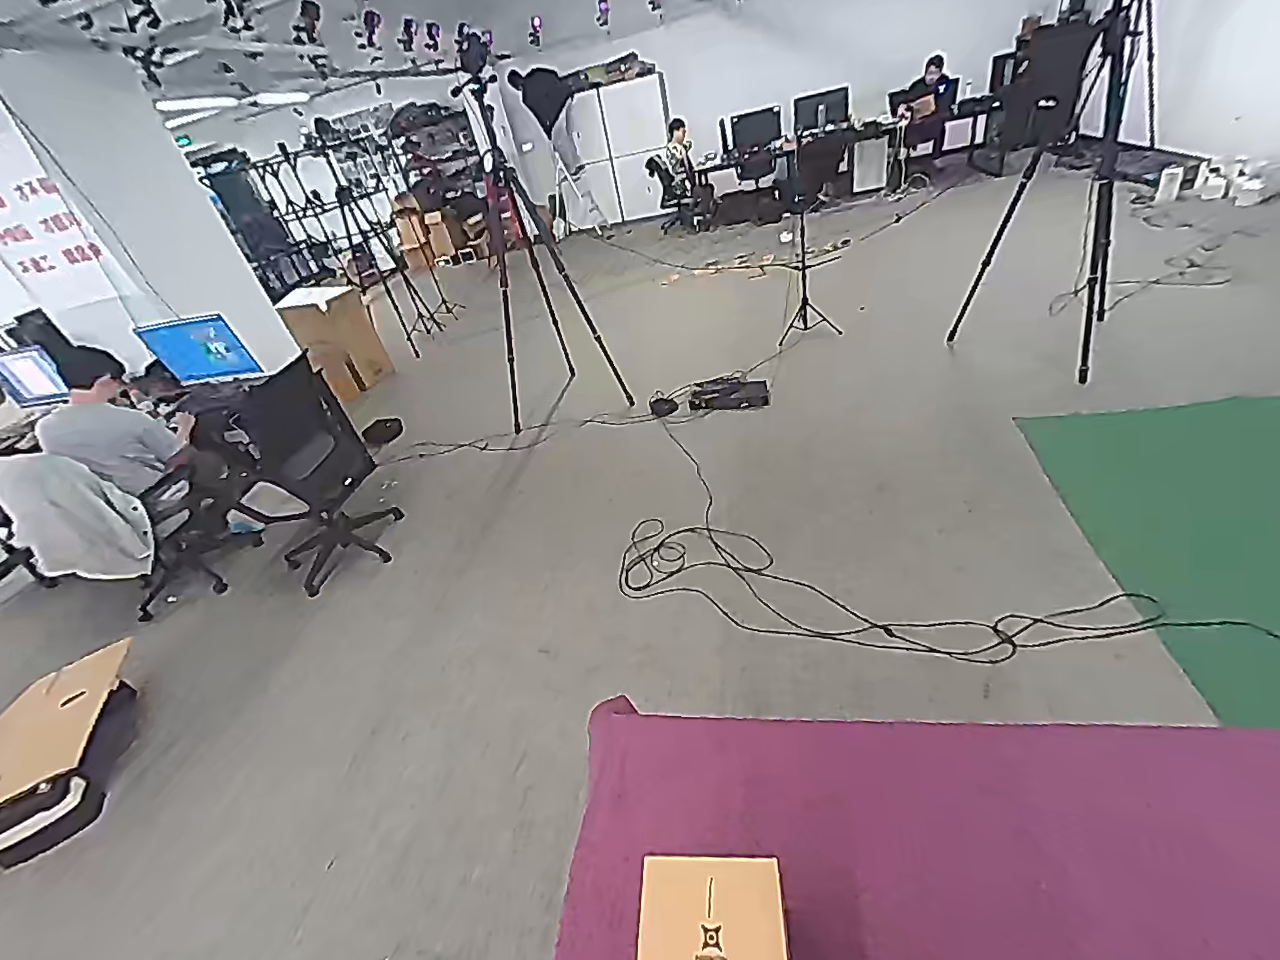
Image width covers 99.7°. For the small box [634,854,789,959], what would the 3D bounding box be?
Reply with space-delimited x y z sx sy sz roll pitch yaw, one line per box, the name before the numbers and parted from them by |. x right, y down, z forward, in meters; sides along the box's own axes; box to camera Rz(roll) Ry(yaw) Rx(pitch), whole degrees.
small box | 0.092 0.576 0.639 0.168 0.176 0.179 -6 34 11
